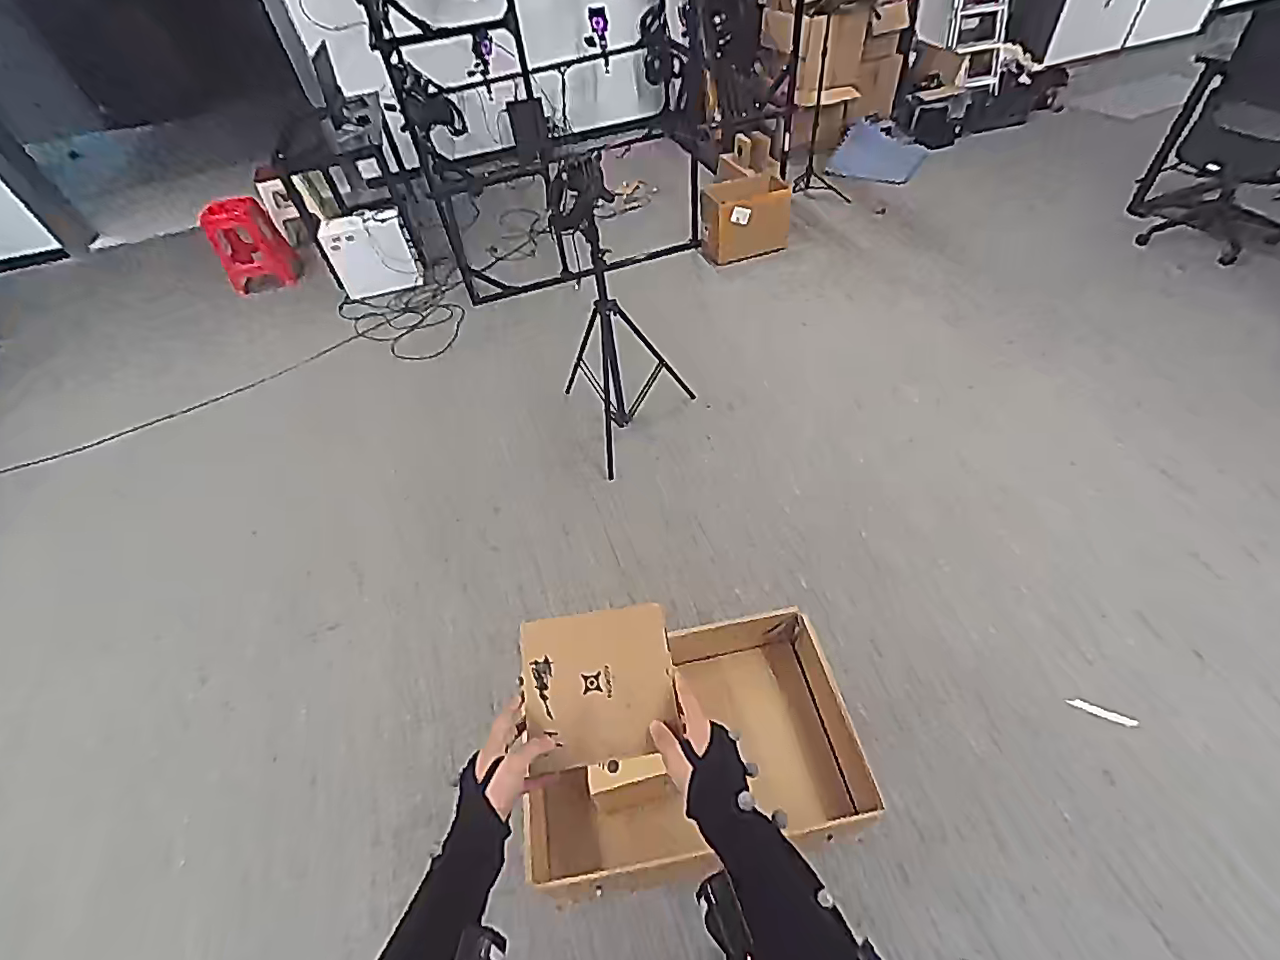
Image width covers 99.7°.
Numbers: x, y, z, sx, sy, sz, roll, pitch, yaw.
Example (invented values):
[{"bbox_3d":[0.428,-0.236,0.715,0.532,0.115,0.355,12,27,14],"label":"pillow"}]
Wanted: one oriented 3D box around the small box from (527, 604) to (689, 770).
[{"bbox_3d":[-0.043,0.266,0.695,0.179,0.176,0.168,-6,65,-4],"label":"small box"}]
